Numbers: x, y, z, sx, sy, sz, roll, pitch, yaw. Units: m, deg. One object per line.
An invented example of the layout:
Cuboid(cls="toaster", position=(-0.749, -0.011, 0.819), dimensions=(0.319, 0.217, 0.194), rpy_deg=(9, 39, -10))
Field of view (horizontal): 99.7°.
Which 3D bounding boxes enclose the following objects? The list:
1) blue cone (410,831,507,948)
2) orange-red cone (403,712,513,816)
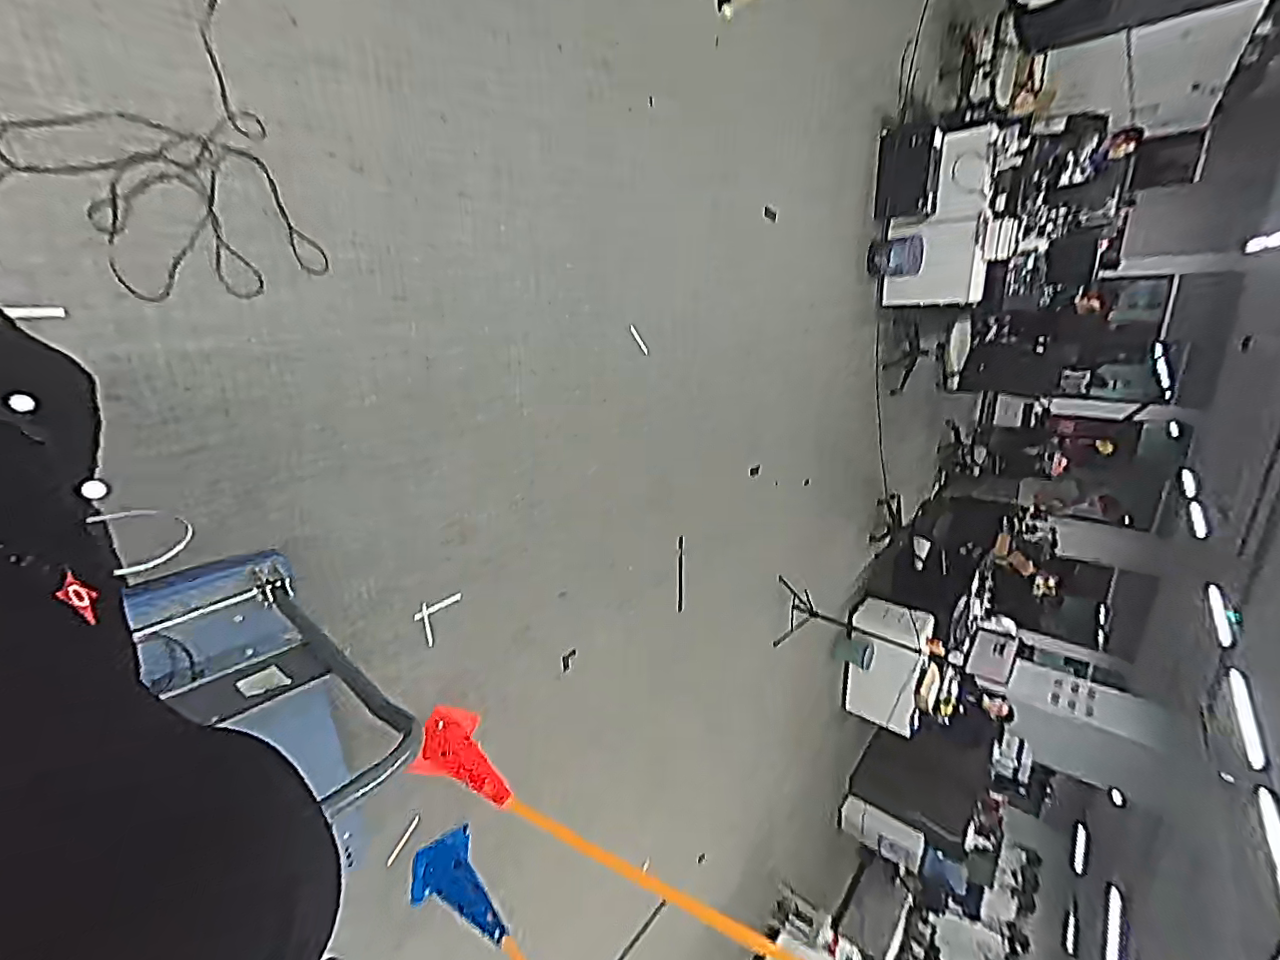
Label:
Cuboid(cls="blue cone", position=(-0.536, 1.300, 1.665), dimensions=(0.193, 0.380, 0.192), rpy_deg=(0, 99, -50))
Cuboid(cls="orange-red cone", position=(-0.491, 0.867, 1.580), dimensions=(0.198, 0.360, 0.199), rpy_deg=(45, 67, -45))
